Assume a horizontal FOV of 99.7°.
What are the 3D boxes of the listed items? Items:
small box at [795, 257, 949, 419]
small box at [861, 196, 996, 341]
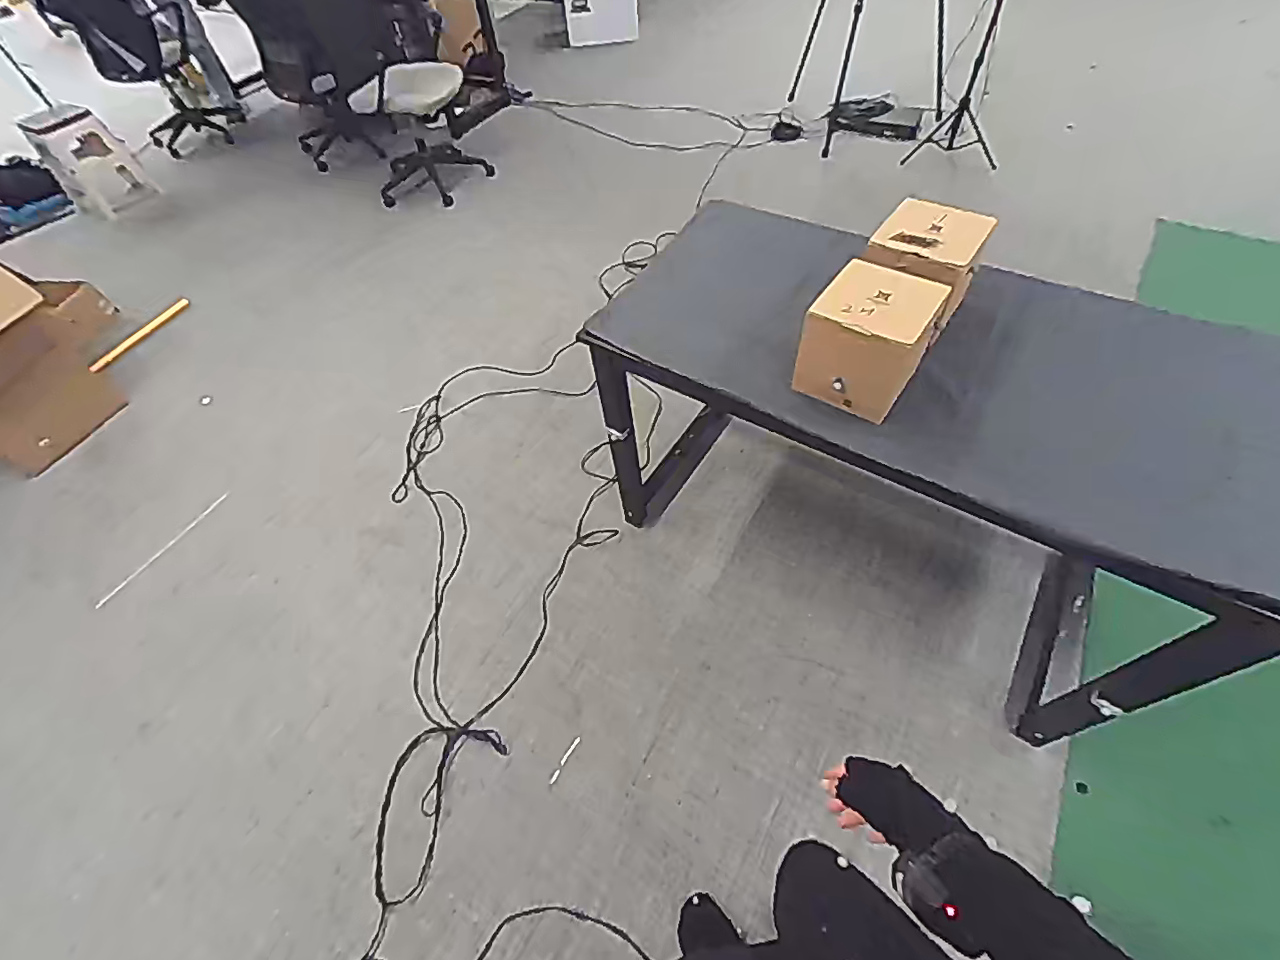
[{"bbox_3d":[0.378,-0.237,0.911,0.168,0.176,0.179,29,61,23],"label":"small box"},{"bbox_3d":[0.516,-0.391,1.009,0.168,0.176,0.179,30,62,23],"label":"small box"}]
